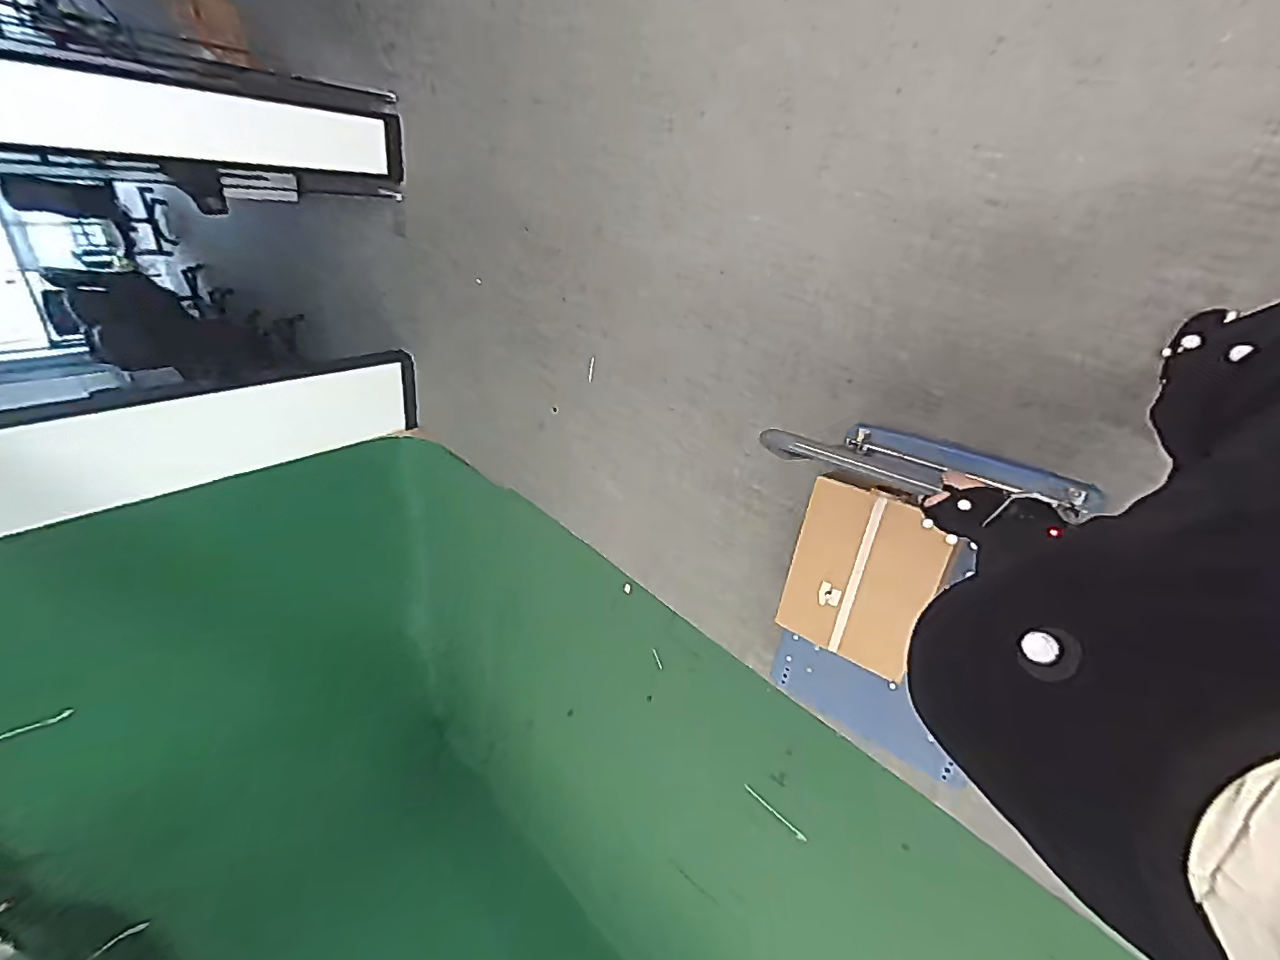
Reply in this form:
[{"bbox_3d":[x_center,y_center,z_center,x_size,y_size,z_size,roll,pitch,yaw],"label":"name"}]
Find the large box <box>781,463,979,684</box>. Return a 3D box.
[{"bbox_3d":[0.593,0.202,1.338,0.320,0.320,0.408,23,111,34],"label":"large box"}]
